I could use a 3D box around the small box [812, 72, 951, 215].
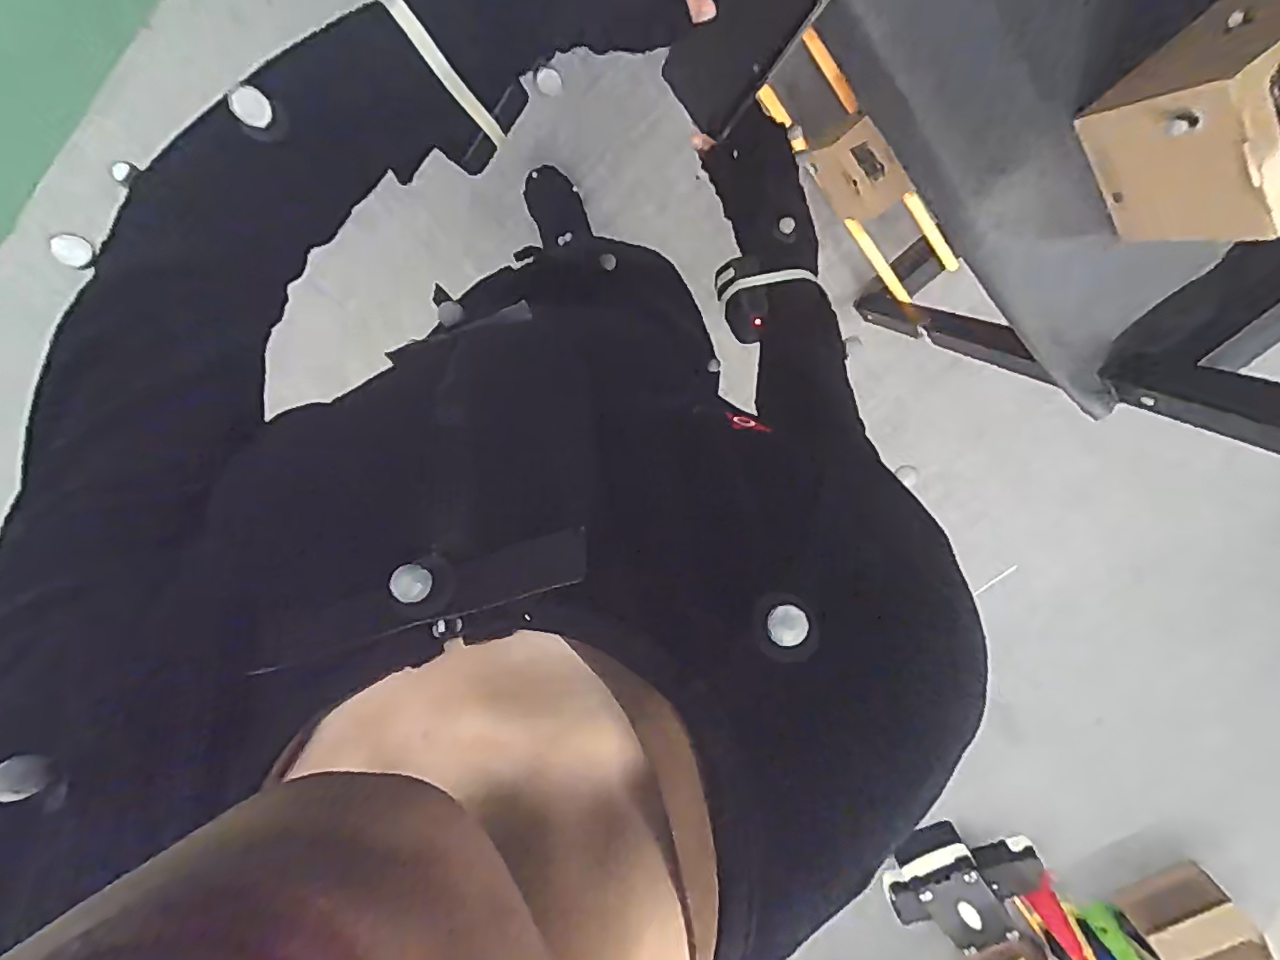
[{"bbox_3d":[0.468,-0.657,1.083,0.179,0.176,0.168,-38,112,13],"label":"small box"}]
